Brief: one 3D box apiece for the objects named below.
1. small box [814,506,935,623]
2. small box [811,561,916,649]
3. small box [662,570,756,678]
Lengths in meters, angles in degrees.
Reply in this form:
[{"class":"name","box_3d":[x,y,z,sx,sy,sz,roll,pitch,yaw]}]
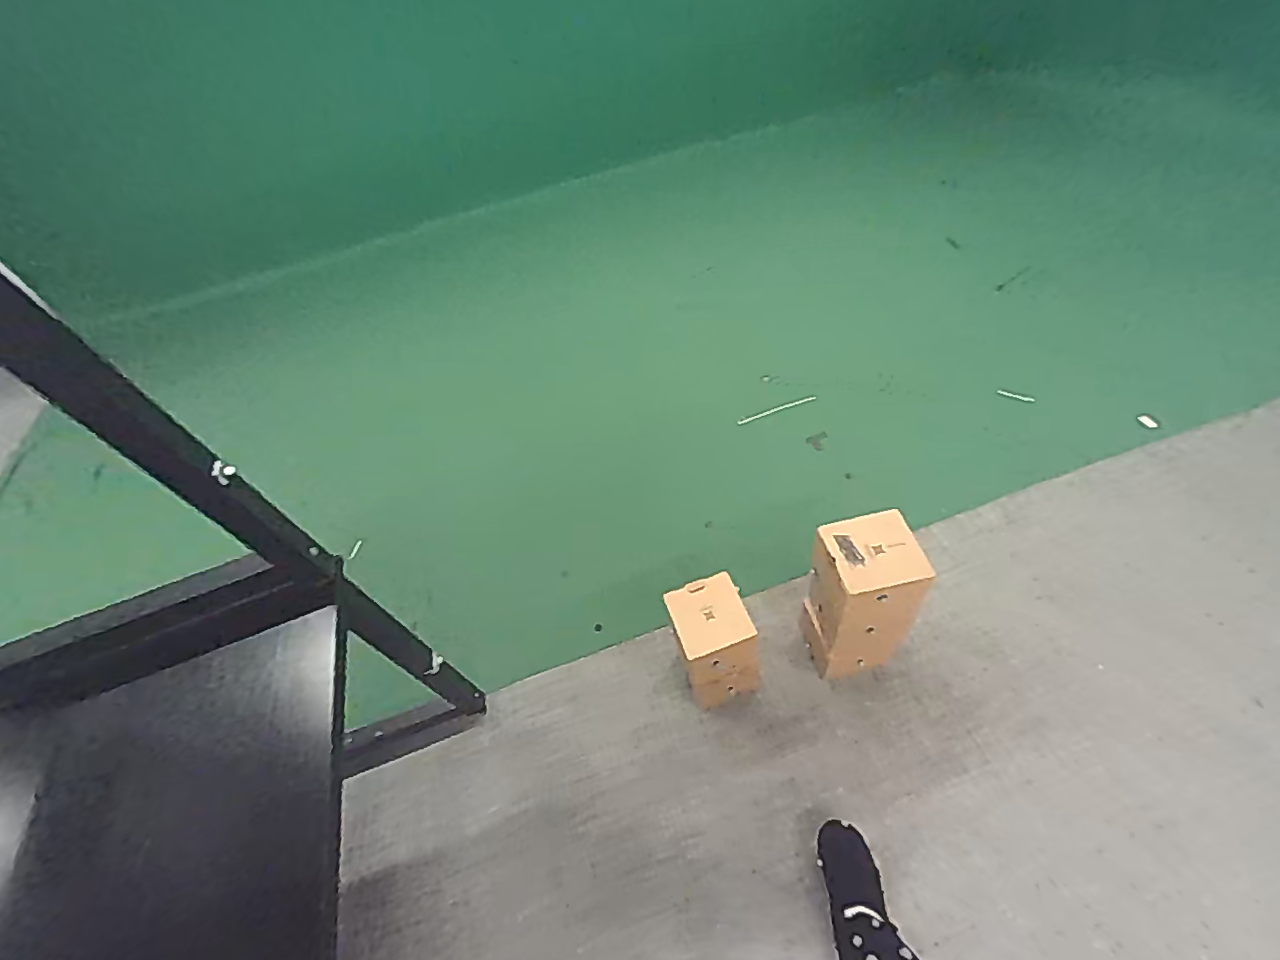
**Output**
[{"class":"small box","box_3d":[0.478,0.182,1.136,0.179,0.176,0.168,-13,51,1]},{"class":"small box","box_3d":[0.509,0.281,1.264,0.179,0.176,0.168,-11,51,2]},{"class":"small box","box_3d":[0.168,0.349,1.281,0.168,0.176,0.179,-20,49,-5]}]
